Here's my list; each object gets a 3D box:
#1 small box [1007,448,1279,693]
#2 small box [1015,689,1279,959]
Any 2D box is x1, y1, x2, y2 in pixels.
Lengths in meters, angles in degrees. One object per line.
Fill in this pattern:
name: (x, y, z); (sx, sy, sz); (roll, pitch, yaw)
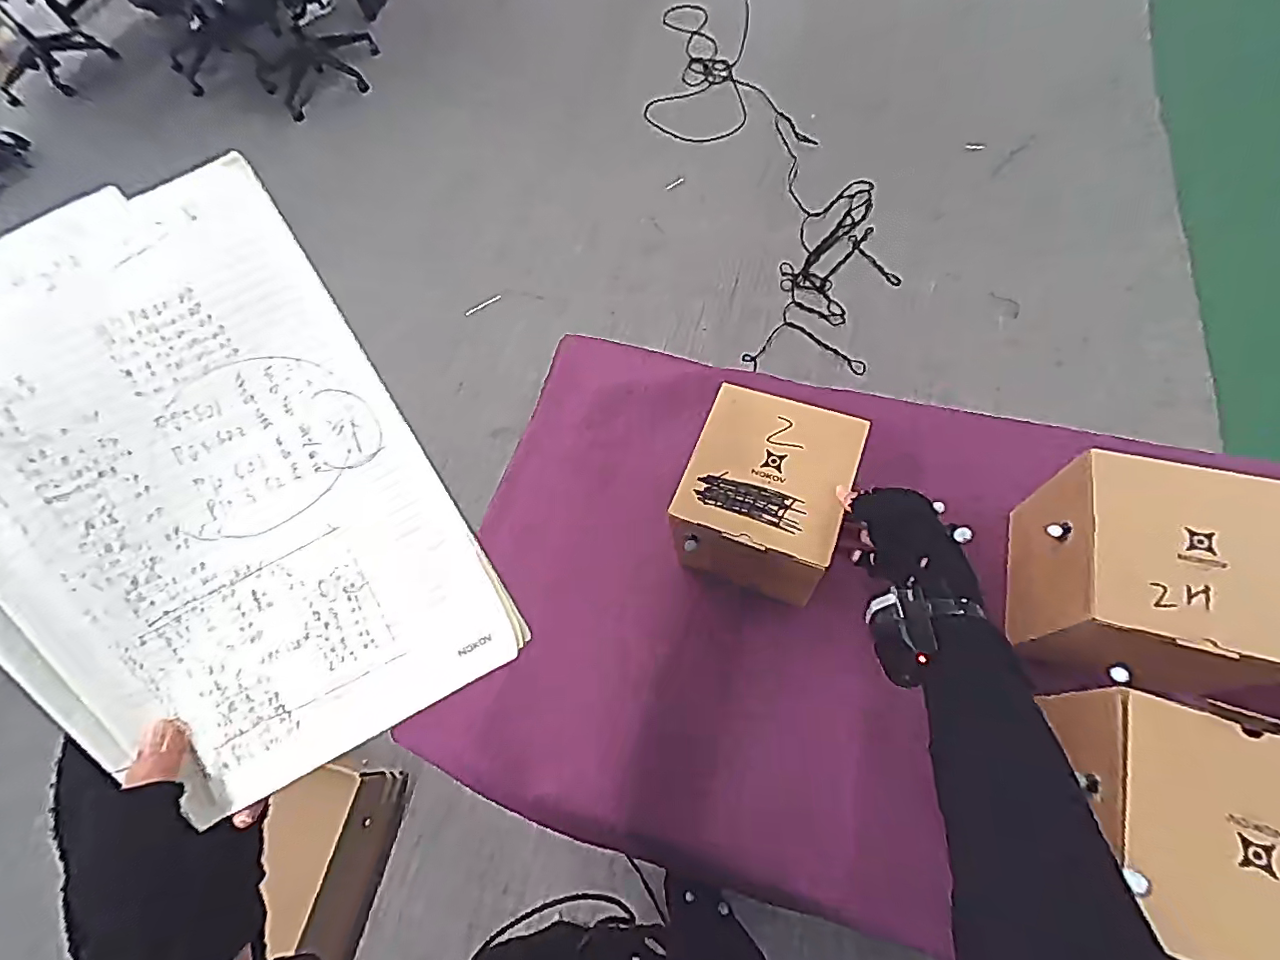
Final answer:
small box: (0.498, 0.097, 0.542); (0.168, 0.176, 0.179); (14, 68, 14)
small box: (0.449, 0.298, 0.457); (0.168, 0.176, 0.179); (16, 69, 16)
